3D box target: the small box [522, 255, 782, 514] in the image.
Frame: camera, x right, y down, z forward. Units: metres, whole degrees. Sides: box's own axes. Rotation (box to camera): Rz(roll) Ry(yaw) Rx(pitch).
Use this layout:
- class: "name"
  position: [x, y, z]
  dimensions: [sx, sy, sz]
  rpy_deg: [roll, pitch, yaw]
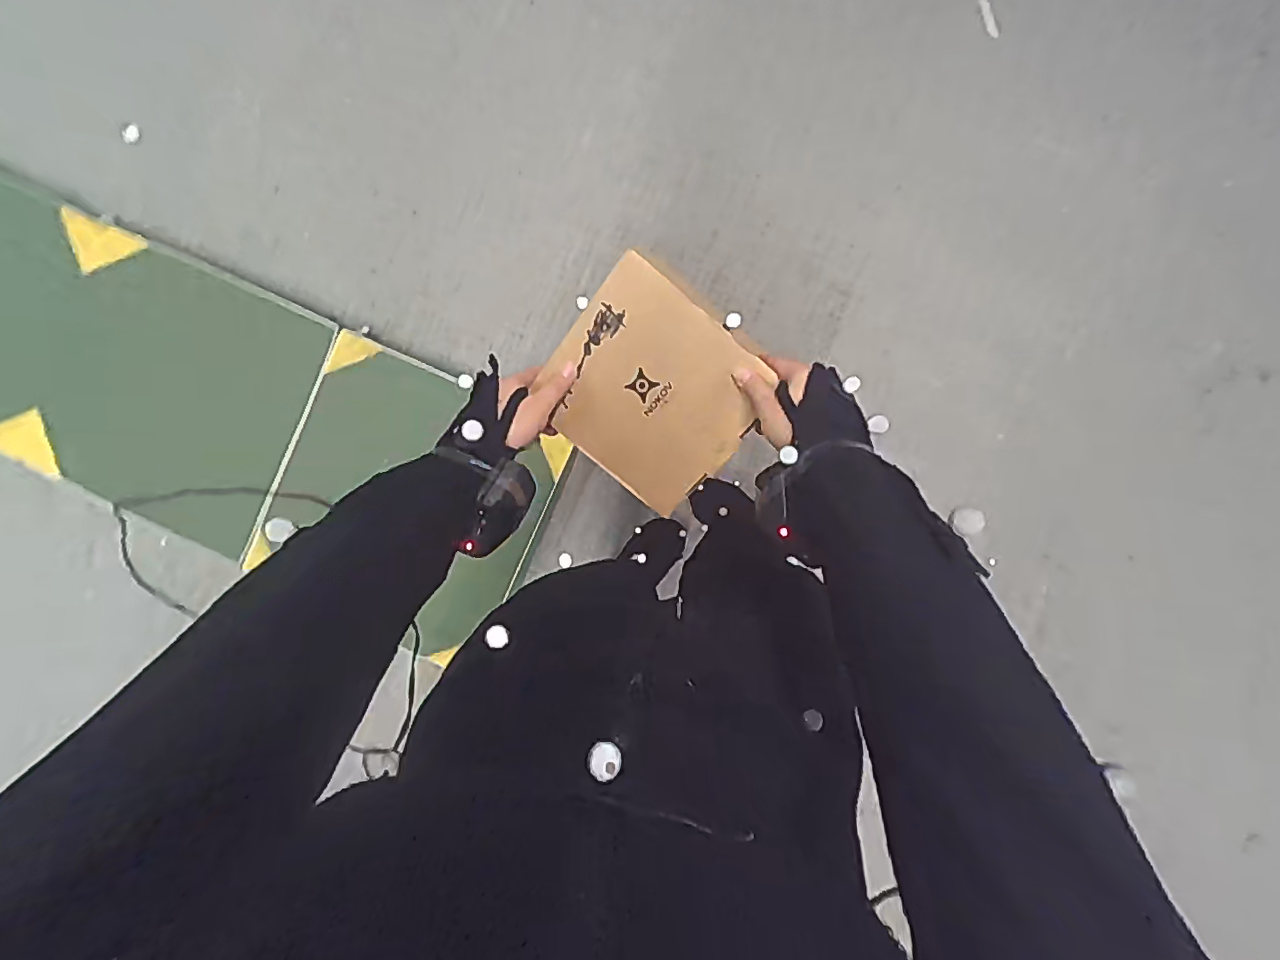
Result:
- class: "small box"
  position: [0.020, -0.102, 0.550]
  dimensions: [0.179, 0.176, 0.168]
  rpy_deg: [39, 110, -4]
